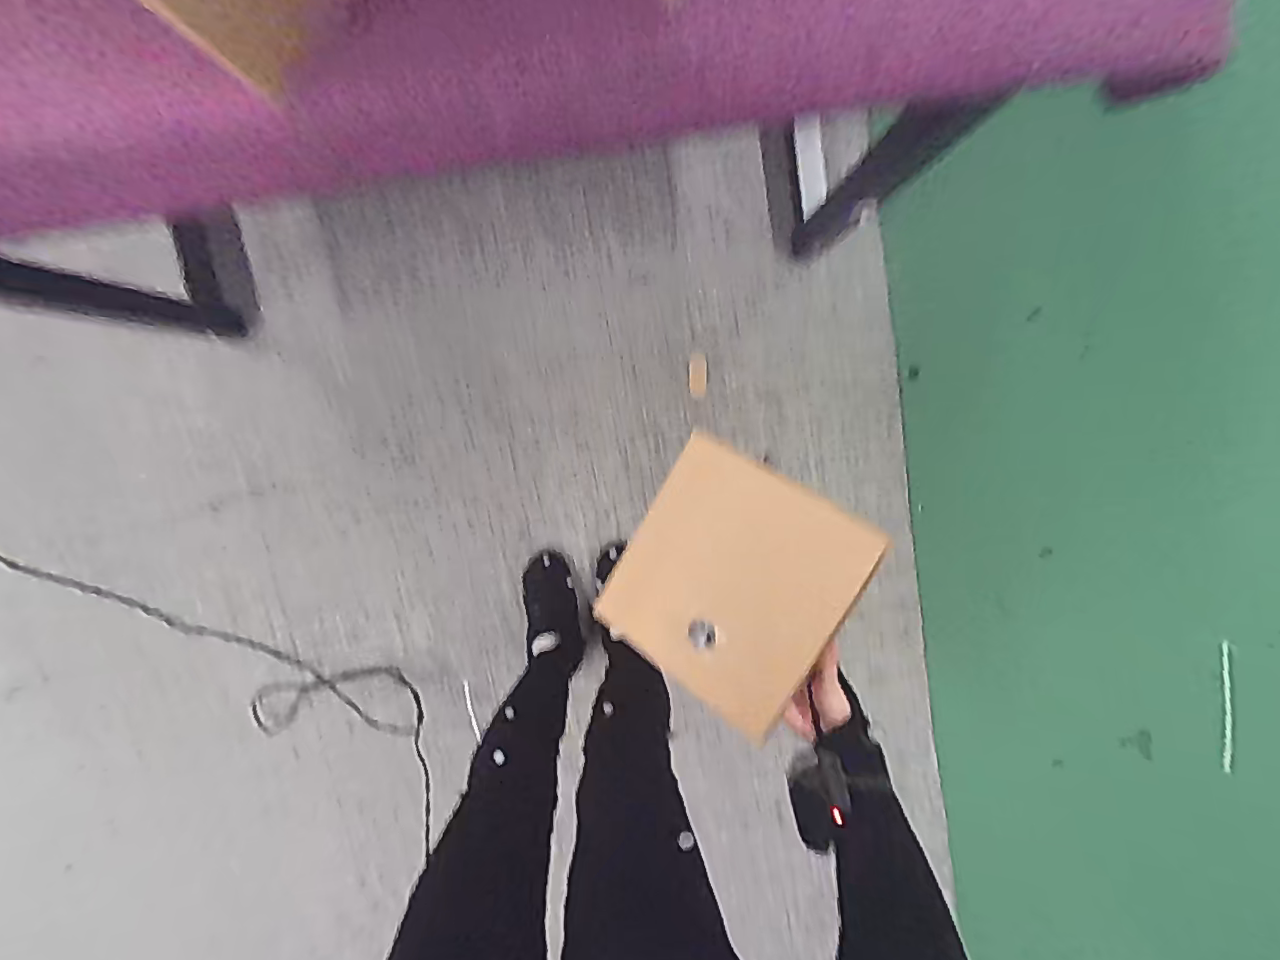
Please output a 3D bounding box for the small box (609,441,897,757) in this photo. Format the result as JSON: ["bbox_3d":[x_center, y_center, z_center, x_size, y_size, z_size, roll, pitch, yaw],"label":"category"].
[{"bbox_3d":[0.097,0.090,0.471,0.176,0.168,0.179,32,99,25],"label":"small box"}]
